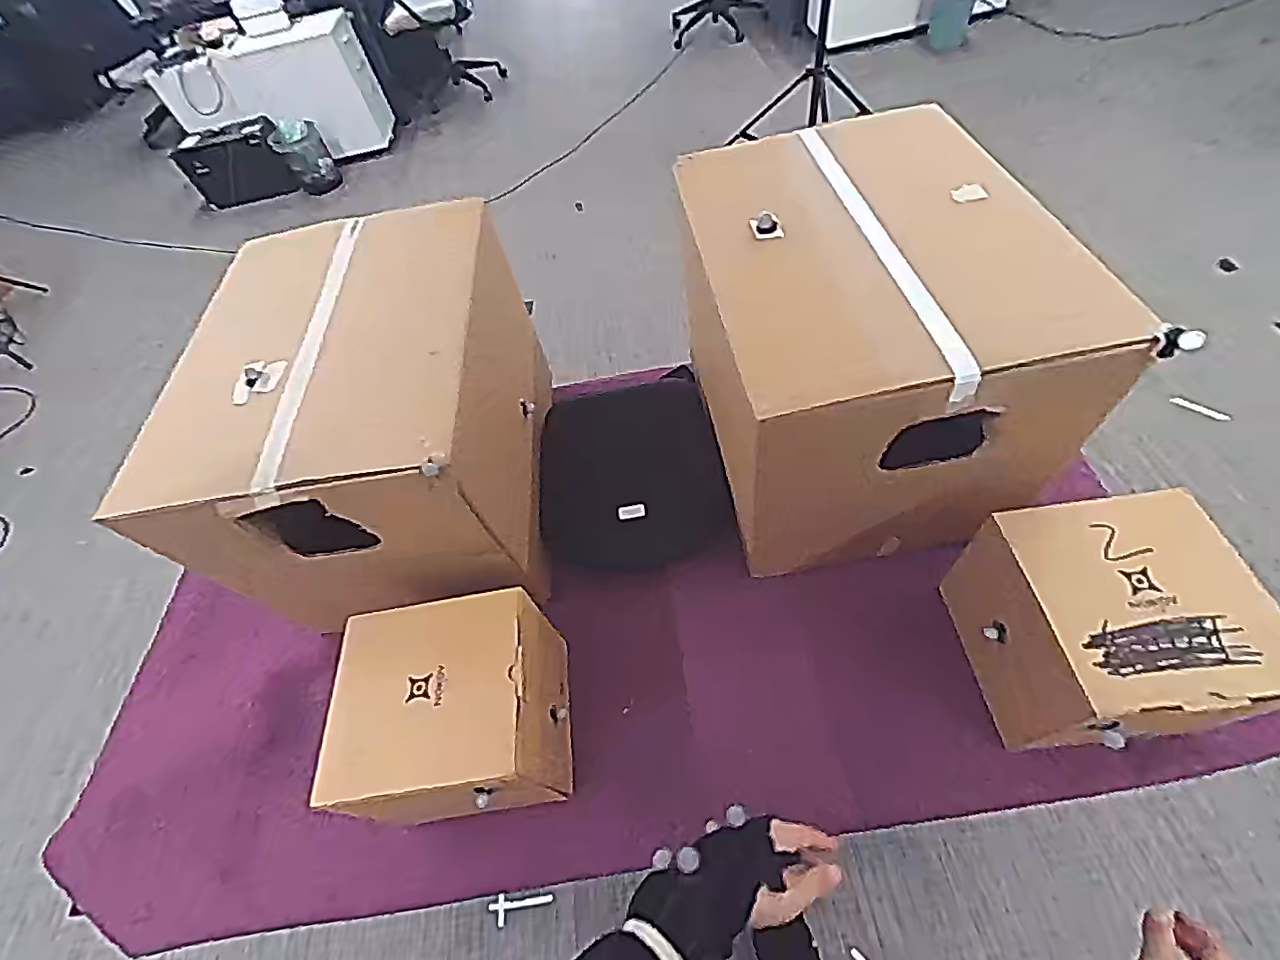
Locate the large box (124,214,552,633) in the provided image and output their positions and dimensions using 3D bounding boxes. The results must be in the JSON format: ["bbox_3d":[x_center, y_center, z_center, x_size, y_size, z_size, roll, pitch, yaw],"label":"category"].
[{"bbox_3d":[-0.302,-0.061,0.690,0.320,0.320,0.408,-10,58,4],"label":"large box"}]
